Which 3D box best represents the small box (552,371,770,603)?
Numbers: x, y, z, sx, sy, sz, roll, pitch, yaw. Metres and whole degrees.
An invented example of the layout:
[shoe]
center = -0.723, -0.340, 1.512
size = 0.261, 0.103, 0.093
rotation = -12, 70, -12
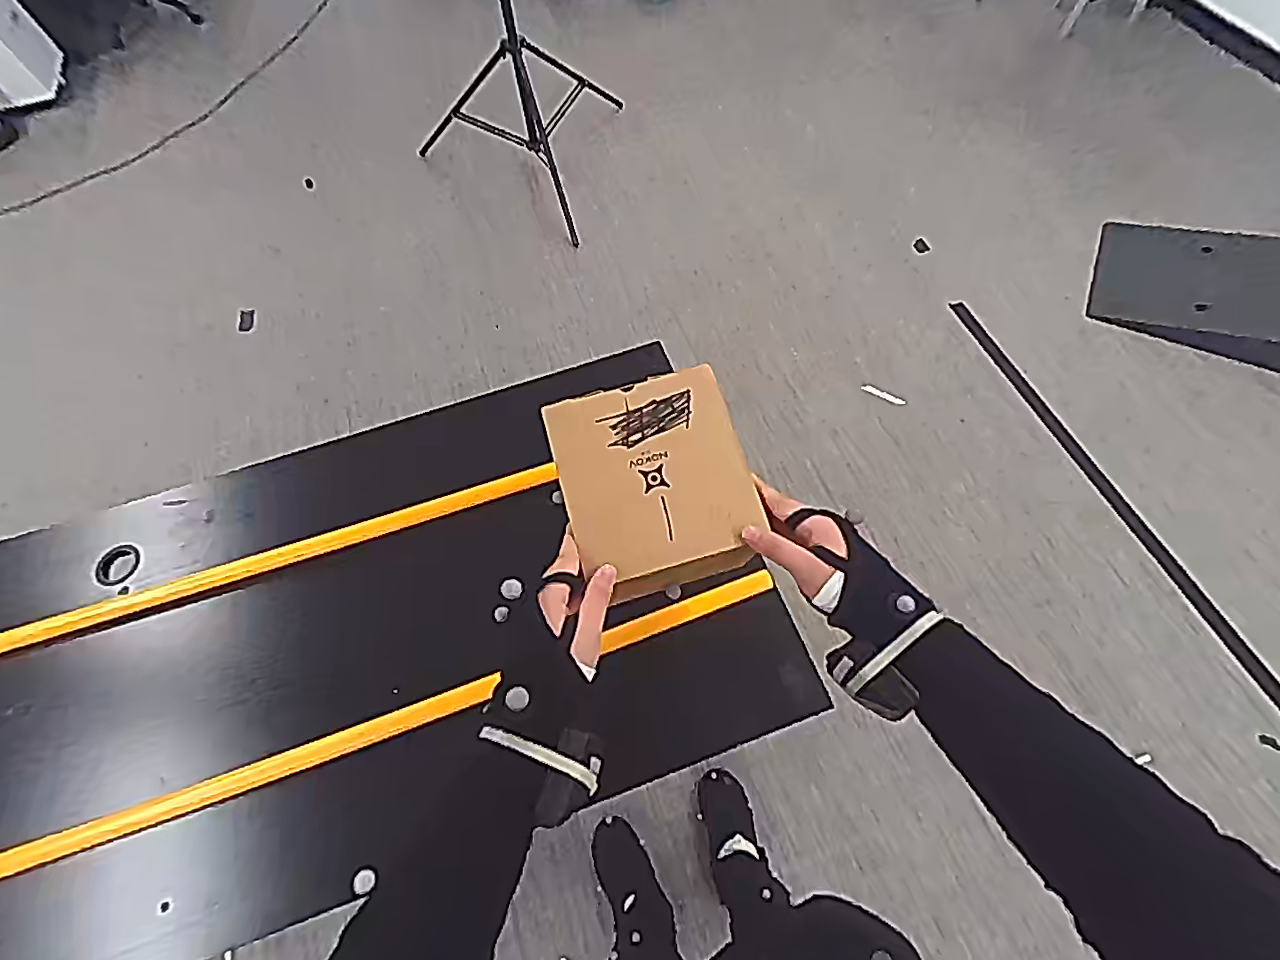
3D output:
[small box]
center = 0.015, 0.017, 0.568
size = 0.168, 0.176, 0.179
rotation = -15, 73, -4
